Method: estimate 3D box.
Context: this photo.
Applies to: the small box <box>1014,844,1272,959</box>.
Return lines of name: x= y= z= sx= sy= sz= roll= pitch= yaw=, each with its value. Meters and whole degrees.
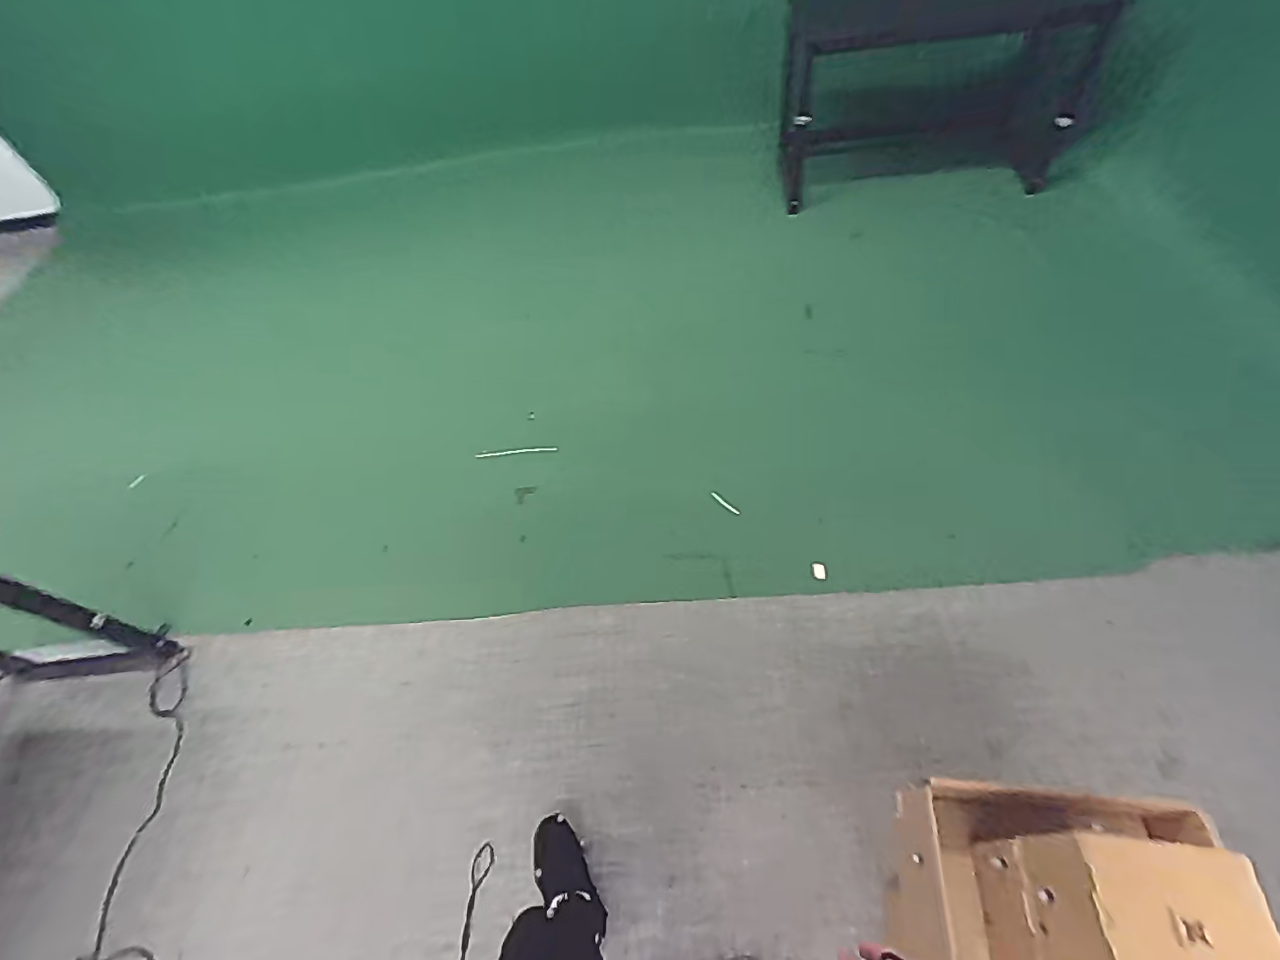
small box: x=0.608 y=0.558 z=0.665 sx=0.179 sy=0.176 sz=0.168 roll=3 pitch=57 yaw=9
